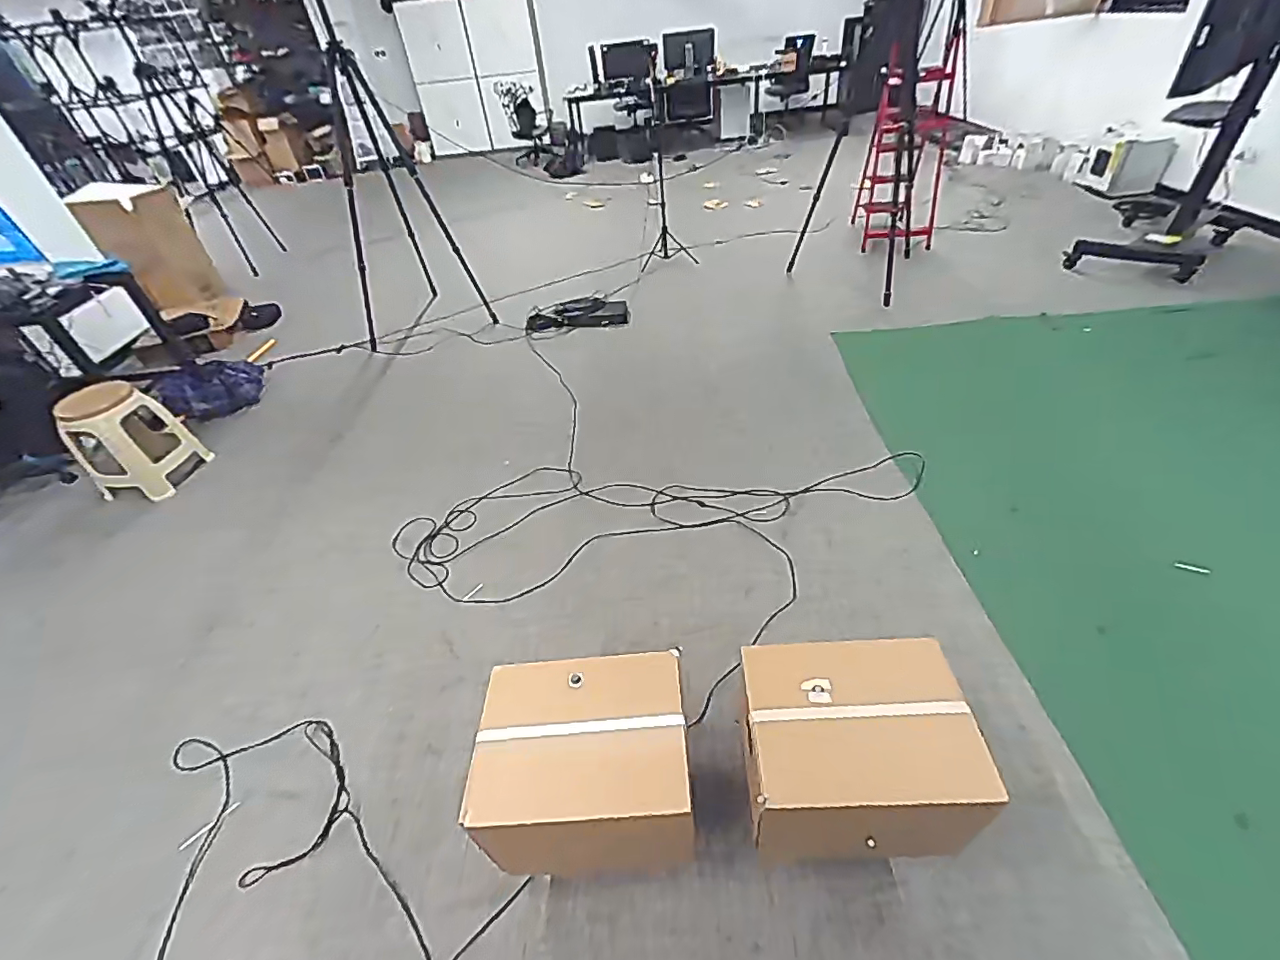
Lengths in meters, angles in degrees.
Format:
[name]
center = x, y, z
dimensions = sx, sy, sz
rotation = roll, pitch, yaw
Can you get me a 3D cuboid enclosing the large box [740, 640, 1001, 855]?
[large box]
center = 0.432, 0.562, 1.130
dimensions = 0.408, 0.320, 0.320
rotation = -4, 41, 5
